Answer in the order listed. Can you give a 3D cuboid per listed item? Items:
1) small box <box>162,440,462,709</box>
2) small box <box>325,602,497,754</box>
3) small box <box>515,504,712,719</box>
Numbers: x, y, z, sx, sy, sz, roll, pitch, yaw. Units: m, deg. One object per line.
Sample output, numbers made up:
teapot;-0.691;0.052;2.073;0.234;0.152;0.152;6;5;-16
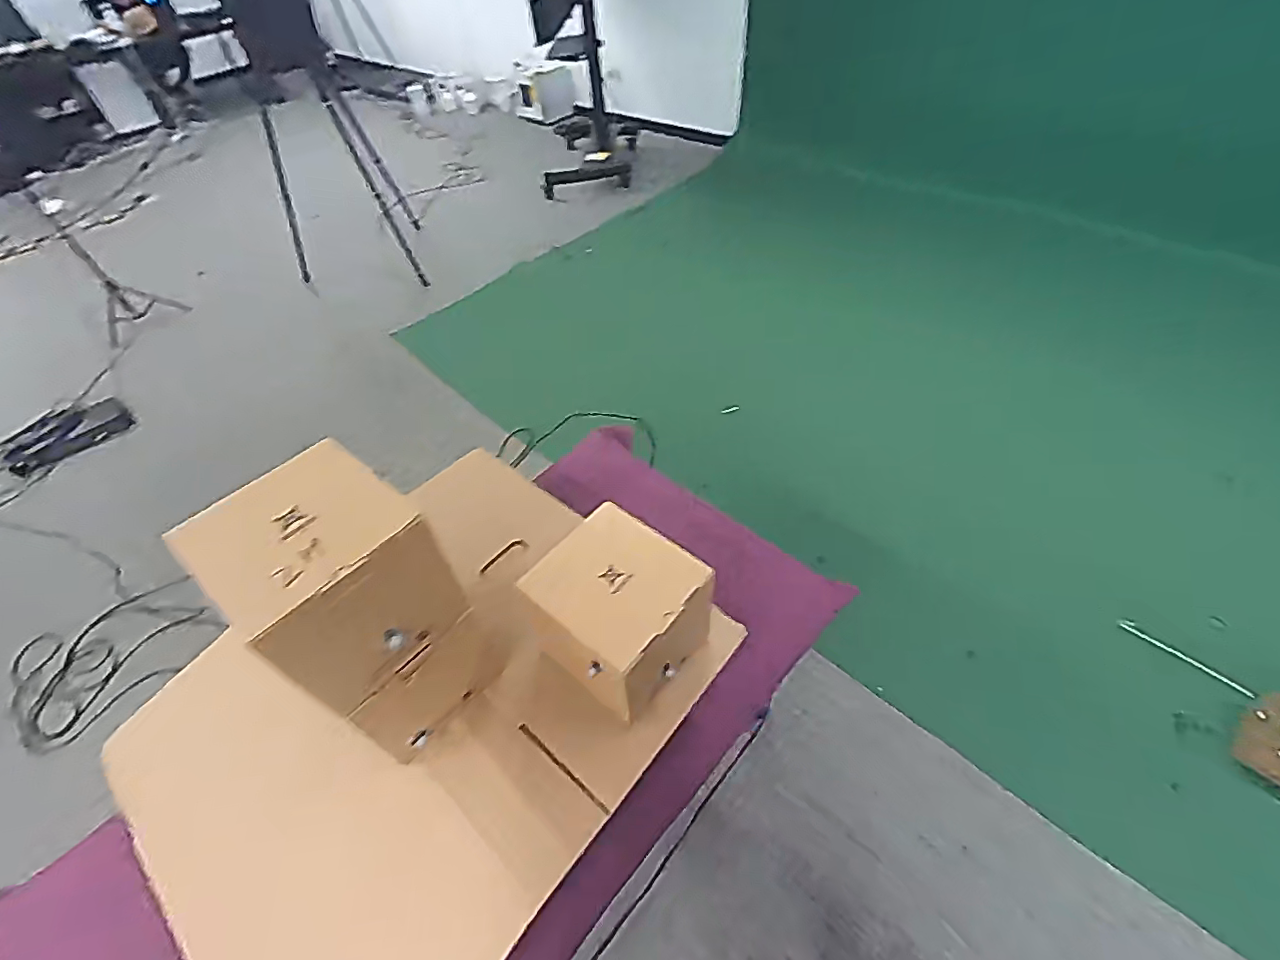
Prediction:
small box;-0.314;0.096;0.549;0.179;0.176;0.168;31;56;26
small box;-0.305;0.207;0.670;0.179;0.176;0.168;30;55;27
small box;-0.029;0.169;0.691;0.179;0.176;0.168;31;57;27
